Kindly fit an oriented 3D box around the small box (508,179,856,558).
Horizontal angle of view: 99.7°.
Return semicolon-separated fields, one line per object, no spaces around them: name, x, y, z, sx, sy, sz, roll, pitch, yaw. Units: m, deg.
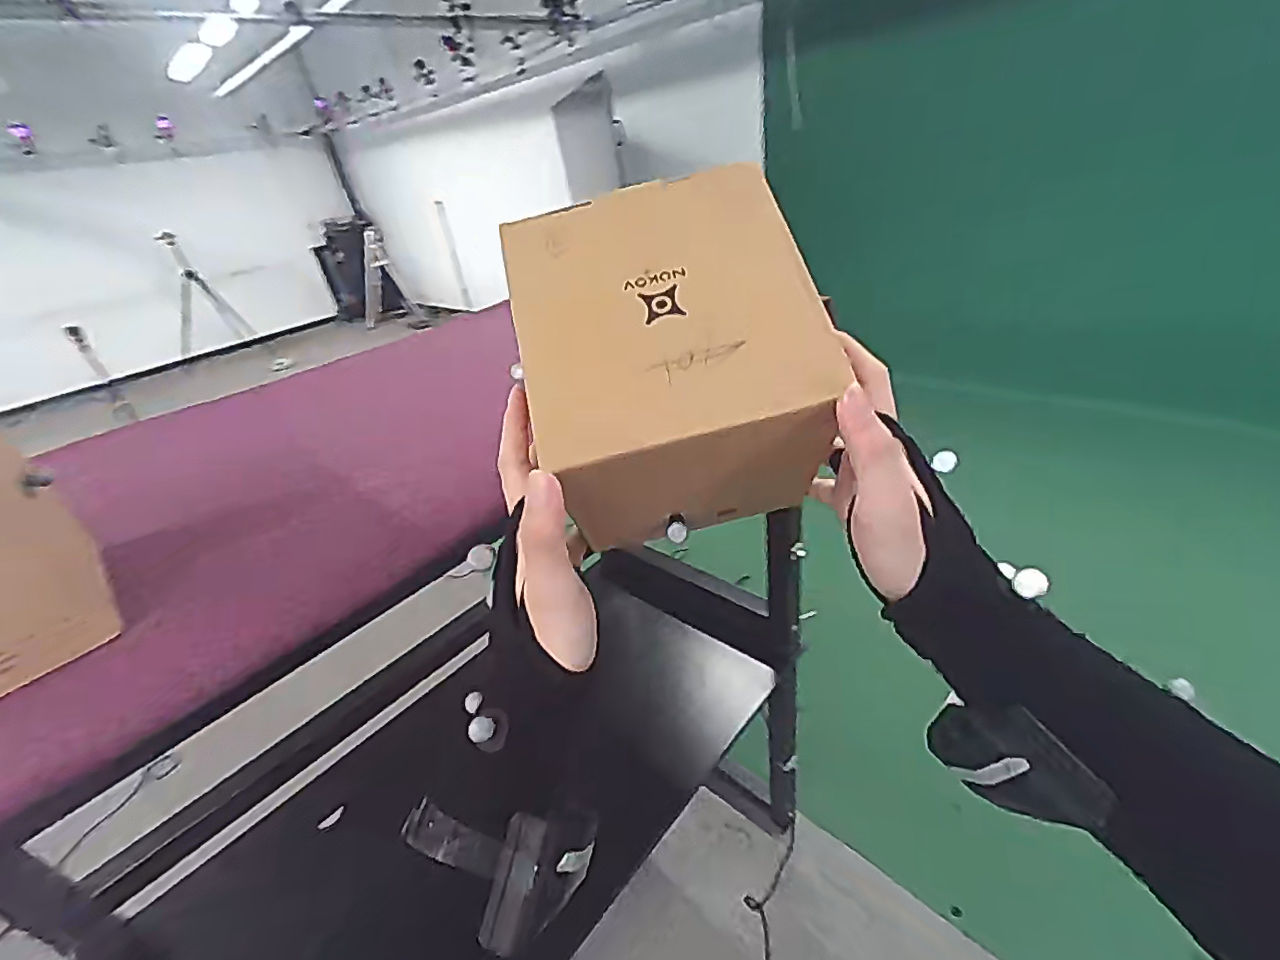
small box;0.020;-0.061;0.374;0.168;0.176;0.179;-13;68;1

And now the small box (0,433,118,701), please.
small box;-0.468;0.051;0.321;0.179;0.176;0.168;19;41;39
